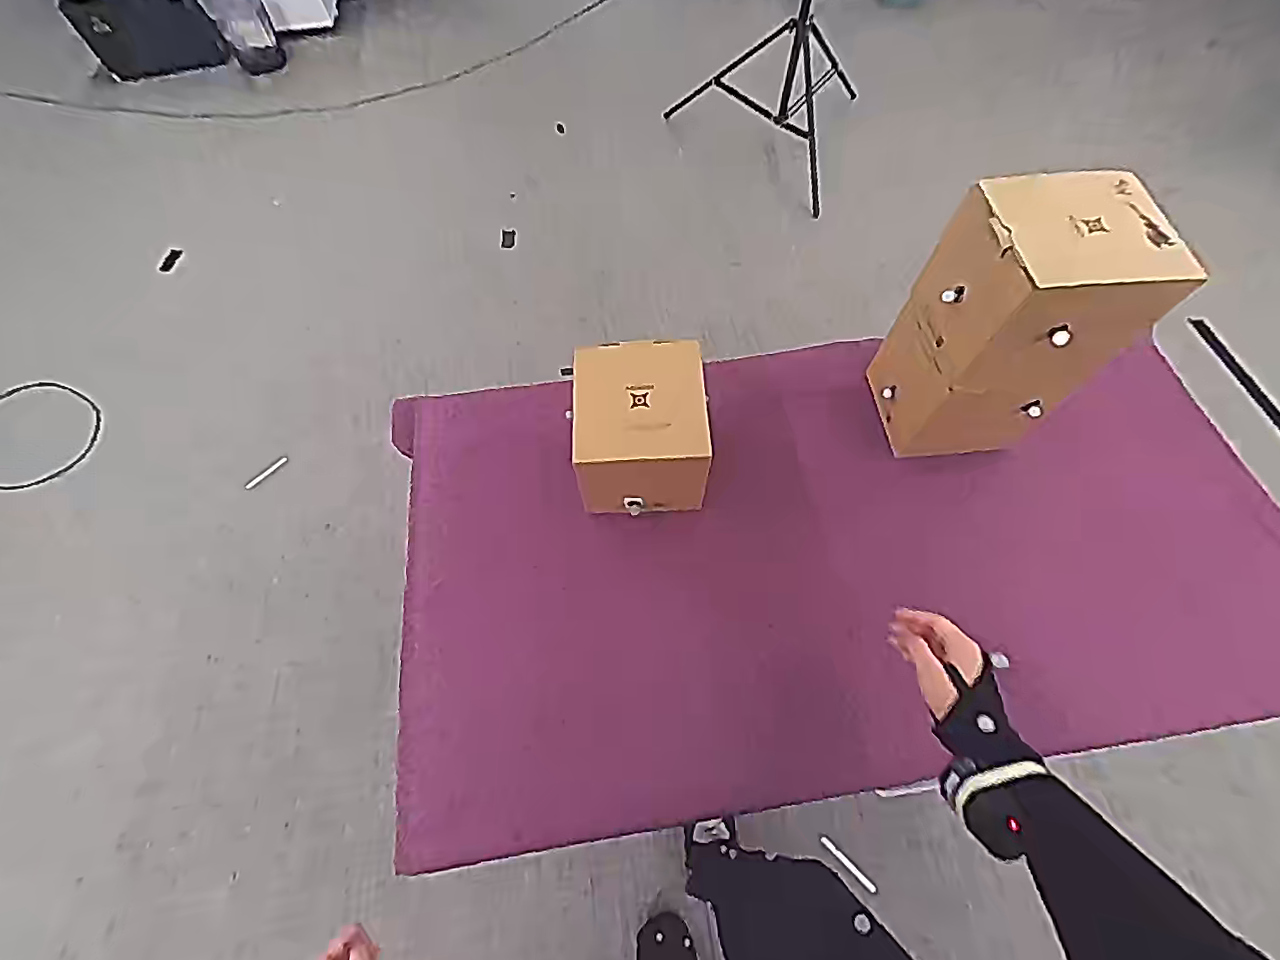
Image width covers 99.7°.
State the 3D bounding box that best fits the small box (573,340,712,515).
[{"bbox_3d":[0.001,-0.065,0.736,0.168,0.176,0.179,-3,65,0],"label":"small box"}]

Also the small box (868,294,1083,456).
[{"bbox_3d":[0.457,-0.147,0.770,0.179,0.176,0.168,-5,63,-1],"label":"small box"}]

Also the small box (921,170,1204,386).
[{"bbox_3d":[0.454,-0.223,0.625,0.179,0.176,0.168,-4,64,0],"label":"small box"}]
